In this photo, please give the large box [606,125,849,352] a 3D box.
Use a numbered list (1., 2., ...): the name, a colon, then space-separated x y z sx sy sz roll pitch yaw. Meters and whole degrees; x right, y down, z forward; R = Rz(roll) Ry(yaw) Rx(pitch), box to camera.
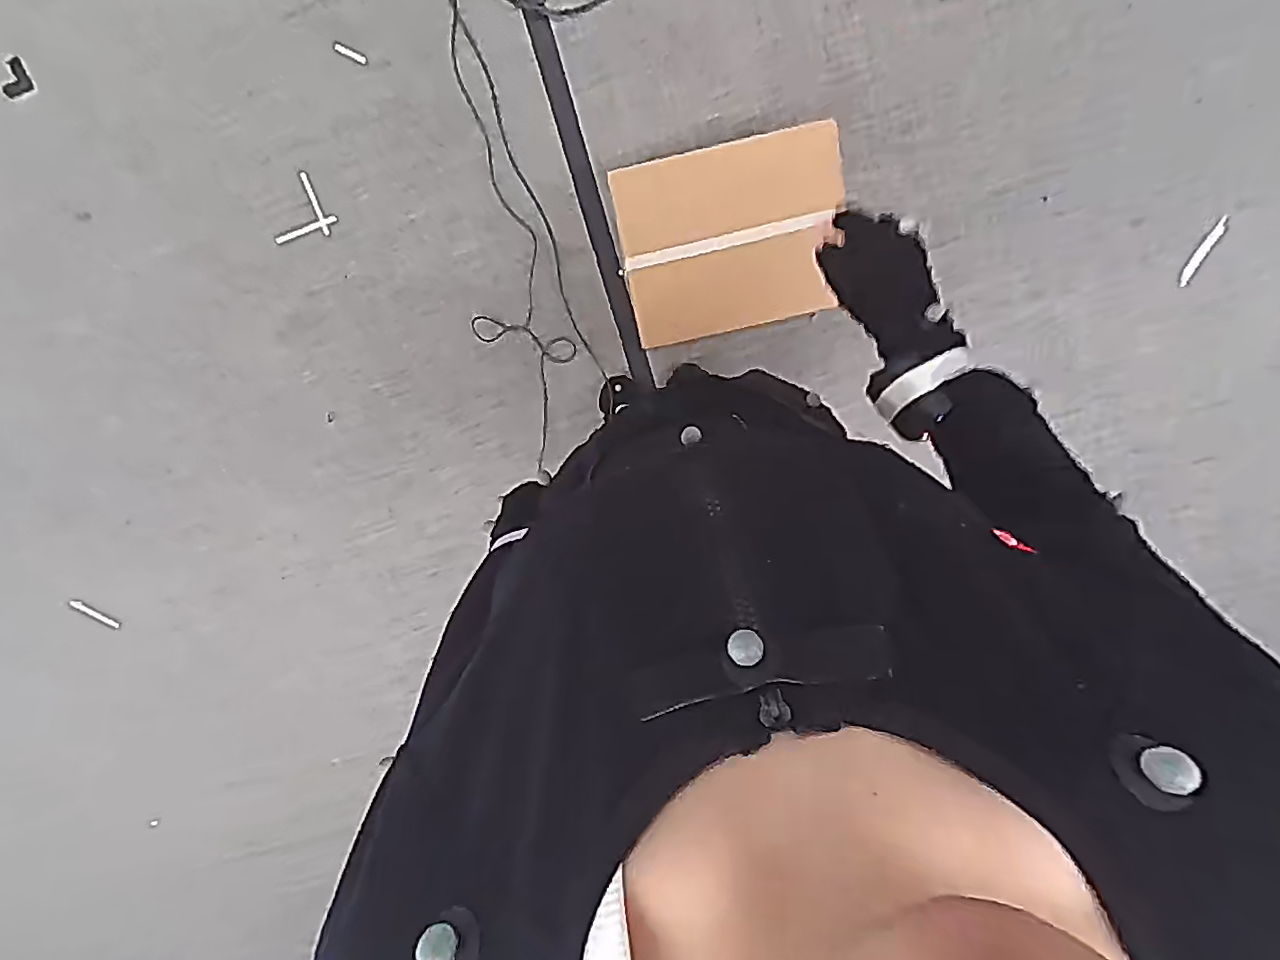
1. large box: 0.165 -0.463 1.123 0.408 0.320 0.320 -12 102 3
